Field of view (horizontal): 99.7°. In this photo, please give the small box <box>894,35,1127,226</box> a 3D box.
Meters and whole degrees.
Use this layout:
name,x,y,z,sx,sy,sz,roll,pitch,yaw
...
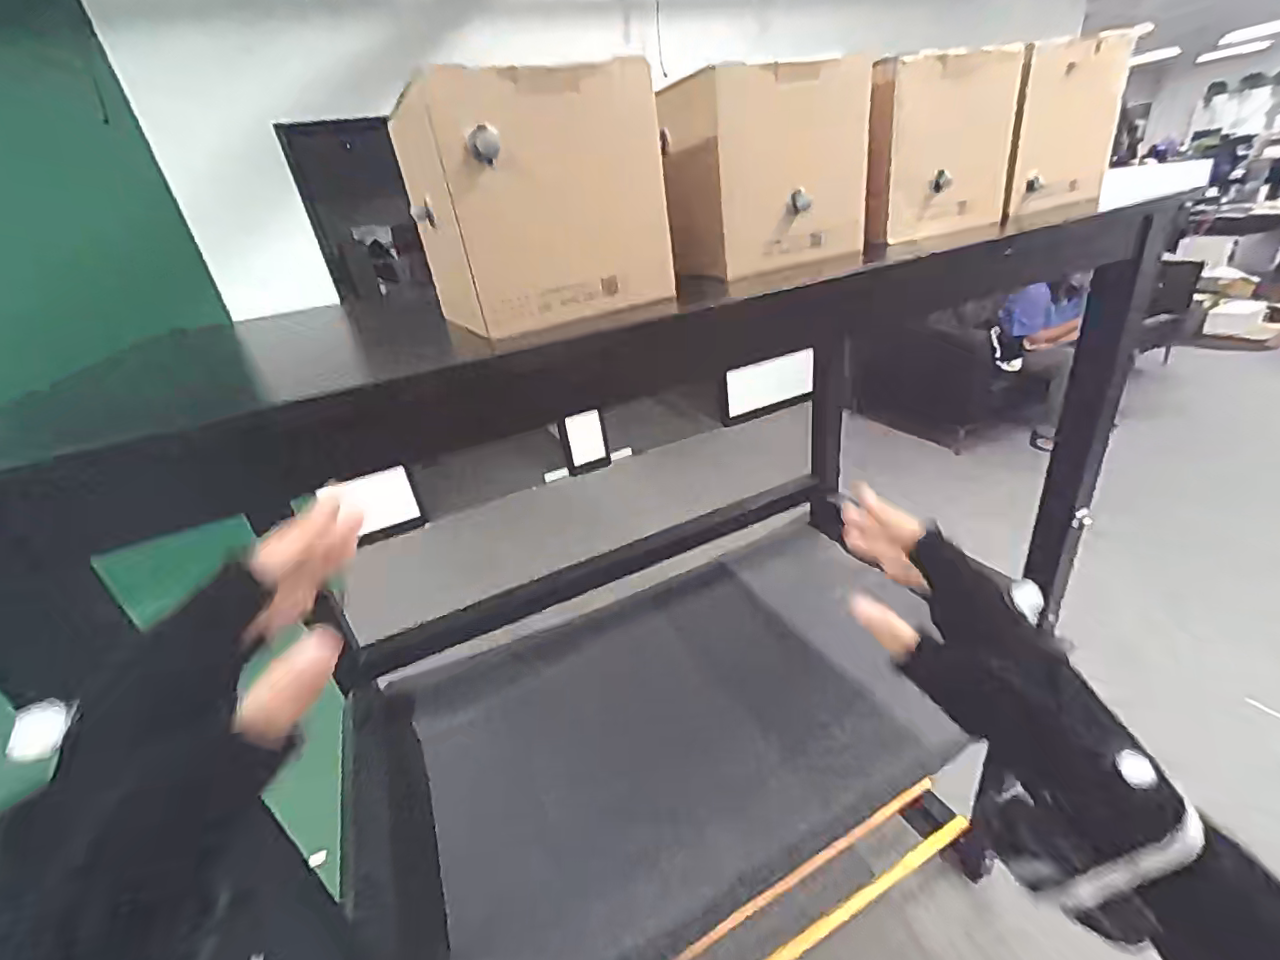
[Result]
name,x,y,z,sx,sy,sz,roll,pitch,yaw
small box,0.454,-0.431,0.690,0.168,0.176,0.179,-18,27,-16

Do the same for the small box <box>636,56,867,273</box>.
name,x,y,z,sx,sy,sz,roll,pitch,yaw
small box,0.109,-0.318,0.571,0.168,0.176,0.179,-17,28,-18
